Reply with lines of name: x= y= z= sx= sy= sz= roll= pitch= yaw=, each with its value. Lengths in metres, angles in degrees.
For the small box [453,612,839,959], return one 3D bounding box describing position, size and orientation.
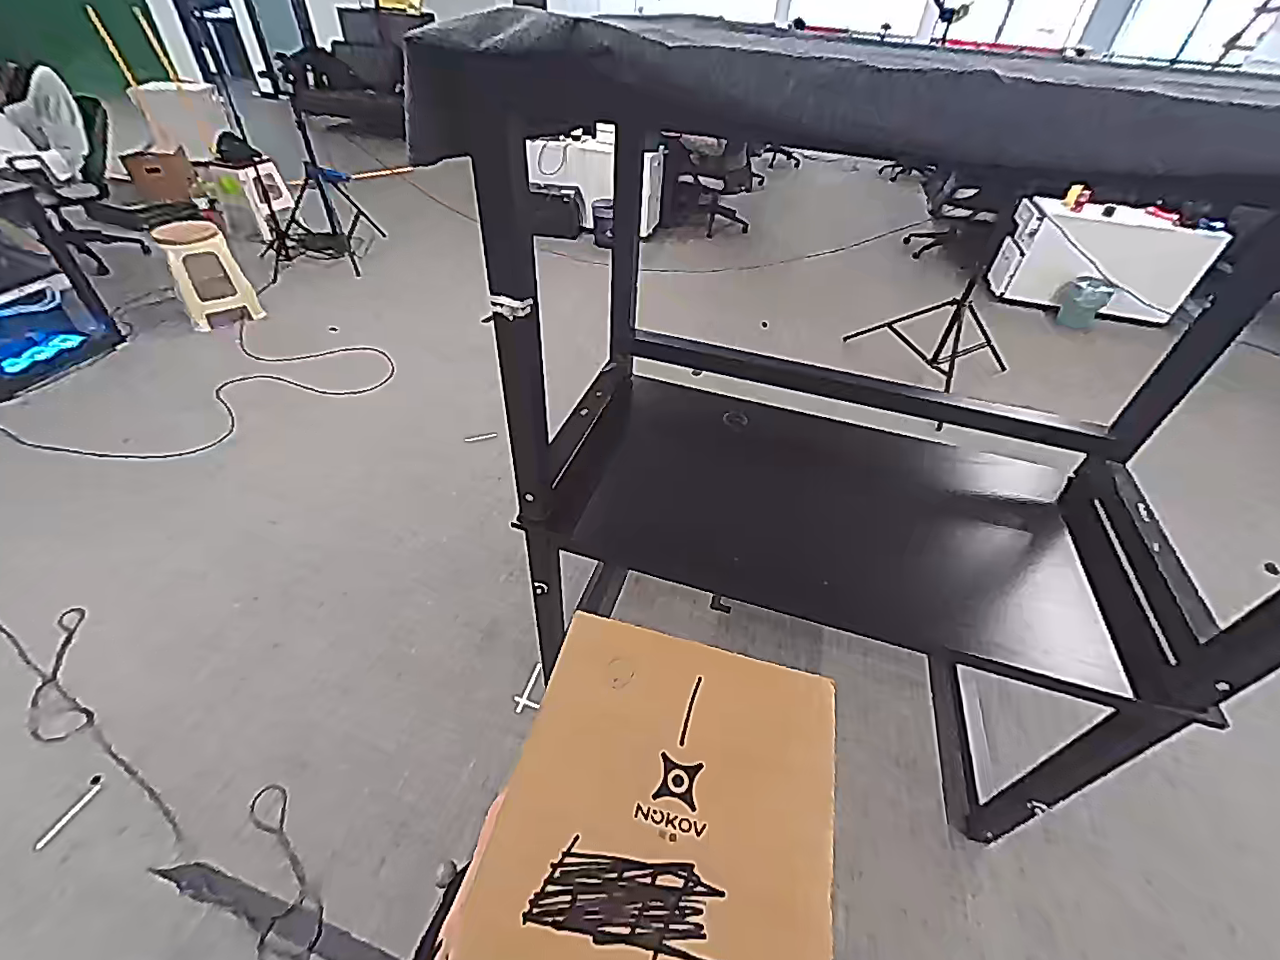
small box: x=0.014 y=0.216 z=0.337 sx=0.168 sy=0.176 sz=0.179 roll=13 pitch=48 yaw=7
